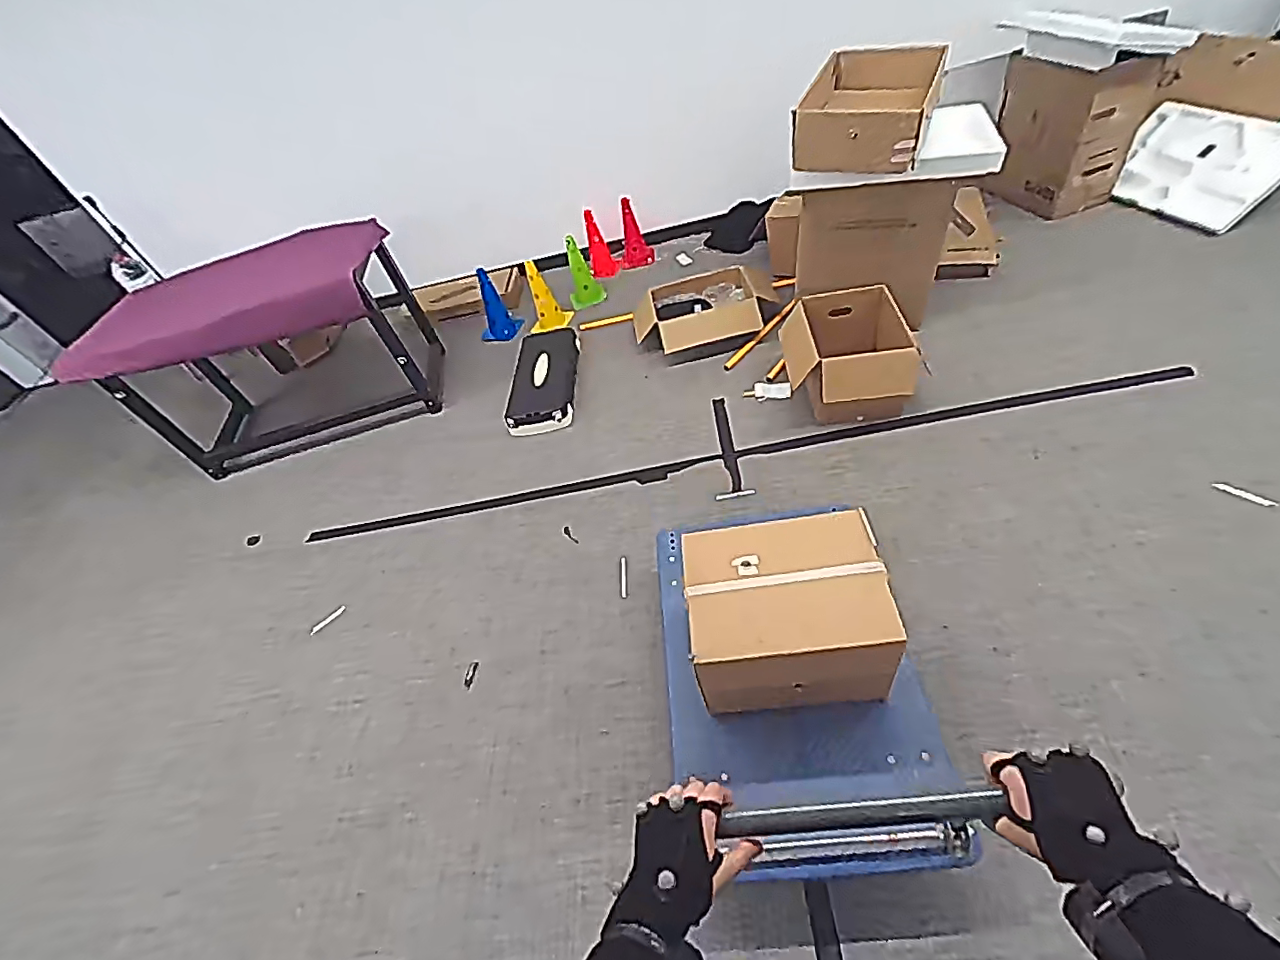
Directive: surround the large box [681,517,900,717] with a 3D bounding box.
[{"bbox_3d":[0.329,0.327,1.255,0.408,0.320,0.320,-10,47,8],"label":"large box"}]
